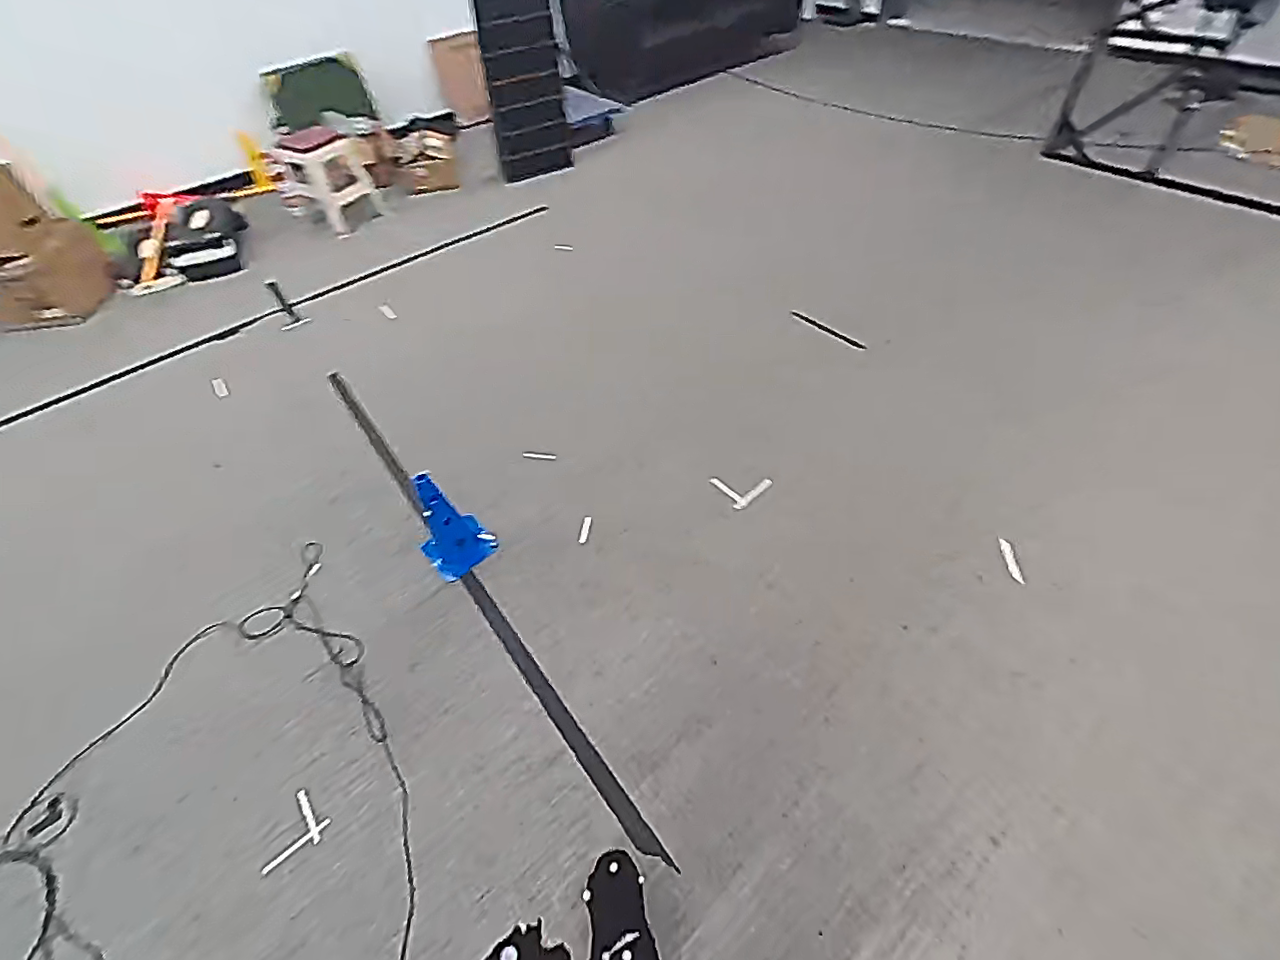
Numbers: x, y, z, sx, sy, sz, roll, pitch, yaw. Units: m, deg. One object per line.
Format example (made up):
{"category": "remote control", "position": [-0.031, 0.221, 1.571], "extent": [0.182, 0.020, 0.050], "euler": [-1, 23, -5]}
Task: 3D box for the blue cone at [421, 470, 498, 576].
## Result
{"category": "blue cone", "position": [-0.599, 0.110, 1.662], "extent": [0.192, 0.380, 0.193], "euler": [-36, 57, -25]}
